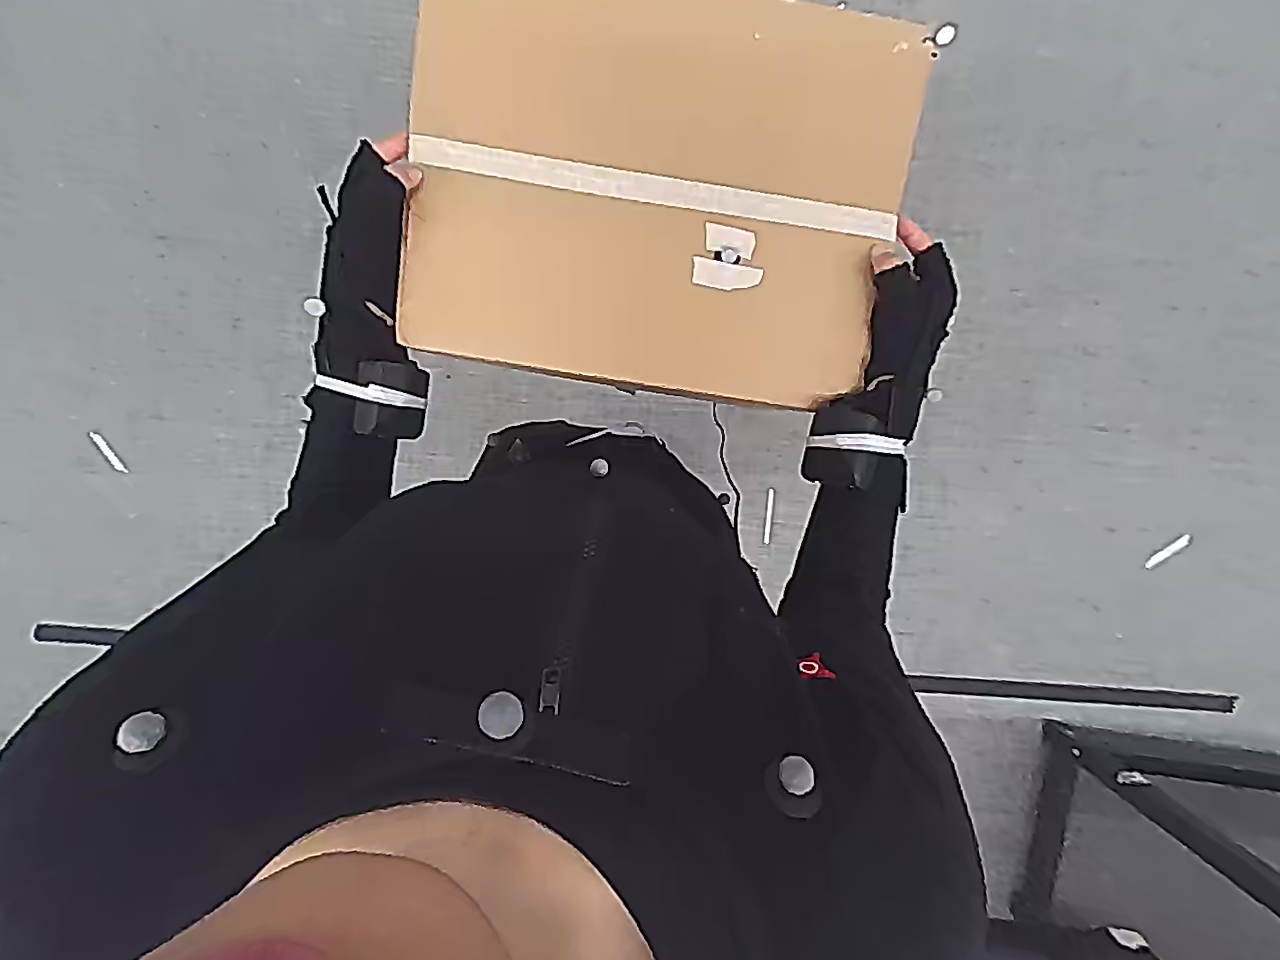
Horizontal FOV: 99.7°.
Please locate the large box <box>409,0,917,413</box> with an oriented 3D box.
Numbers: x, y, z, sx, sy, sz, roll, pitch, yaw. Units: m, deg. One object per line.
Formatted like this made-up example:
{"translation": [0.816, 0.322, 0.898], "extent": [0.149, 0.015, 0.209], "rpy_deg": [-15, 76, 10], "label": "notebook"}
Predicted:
{"translation": [0.007, -0.258, 0.605], "extent": [0.408, 0.320, 0.320], "rpy_deg": [8, 100, -3], "label": "large box"}
